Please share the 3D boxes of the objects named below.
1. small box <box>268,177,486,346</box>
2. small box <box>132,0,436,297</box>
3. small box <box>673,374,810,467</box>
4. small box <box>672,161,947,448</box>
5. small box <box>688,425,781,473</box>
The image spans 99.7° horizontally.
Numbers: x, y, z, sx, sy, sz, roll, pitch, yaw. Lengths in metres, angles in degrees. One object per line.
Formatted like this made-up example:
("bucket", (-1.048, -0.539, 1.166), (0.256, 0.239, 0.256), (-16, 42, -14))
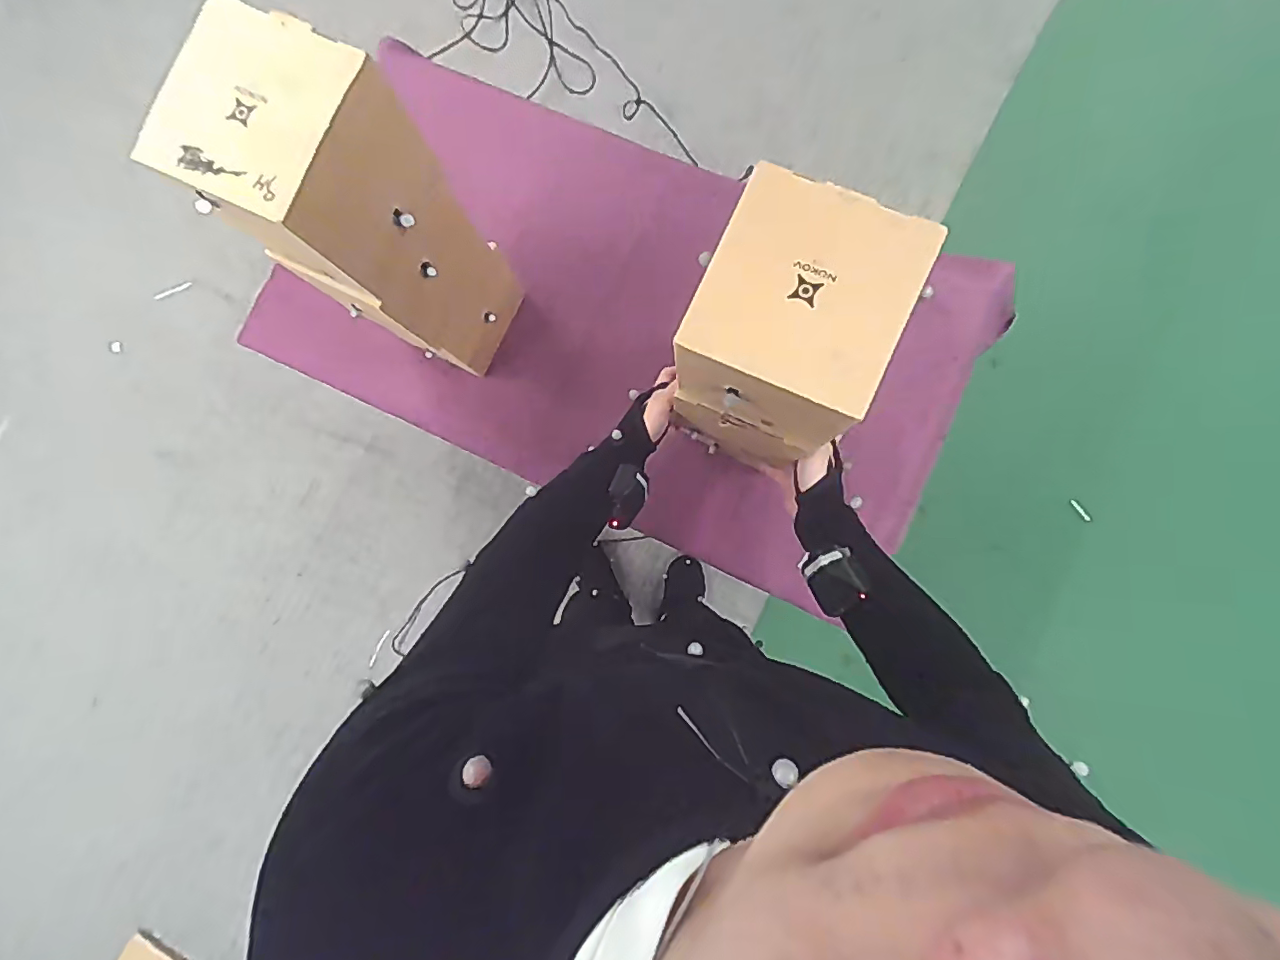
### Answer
("small box", (-0.332, -0.305, 0.723), (0.168, 0.176, 0.179), (27, 88, 6))
("small box", (-0.341, -0.326, 0.560), (0.168, 0.176, 0.179), (25, 87, 7))
("small box", (0.154, -0.130, 0.672), (0.168, 0.176, 0.179), (24, 86, 8))
("small box", (0.143, -0.146, 0.511), (0.168, 0.176, 0.179), (25, 86, 8))
("small box", (0.179, -0.128, 0.835), (0.168, 0.176, 0.179), (27, 88, 8))
